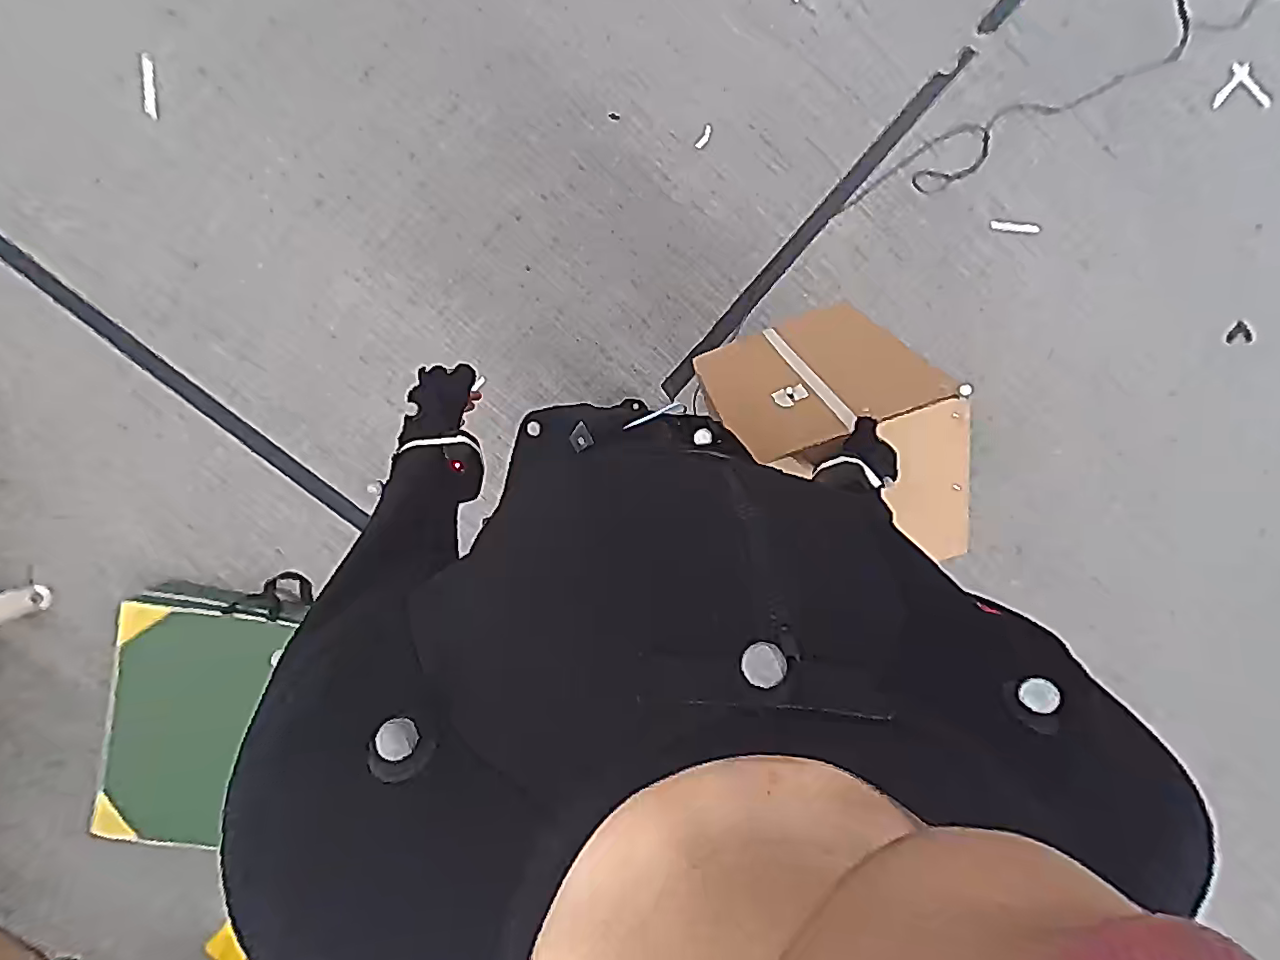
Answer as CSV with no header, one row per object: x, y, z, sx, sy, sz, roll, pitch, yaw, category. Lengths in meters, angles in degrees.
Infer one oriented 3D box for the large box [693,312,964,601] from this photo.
0.317,-0.058,0.992,0.320,0.408,0.320,-19,125,5,large box
